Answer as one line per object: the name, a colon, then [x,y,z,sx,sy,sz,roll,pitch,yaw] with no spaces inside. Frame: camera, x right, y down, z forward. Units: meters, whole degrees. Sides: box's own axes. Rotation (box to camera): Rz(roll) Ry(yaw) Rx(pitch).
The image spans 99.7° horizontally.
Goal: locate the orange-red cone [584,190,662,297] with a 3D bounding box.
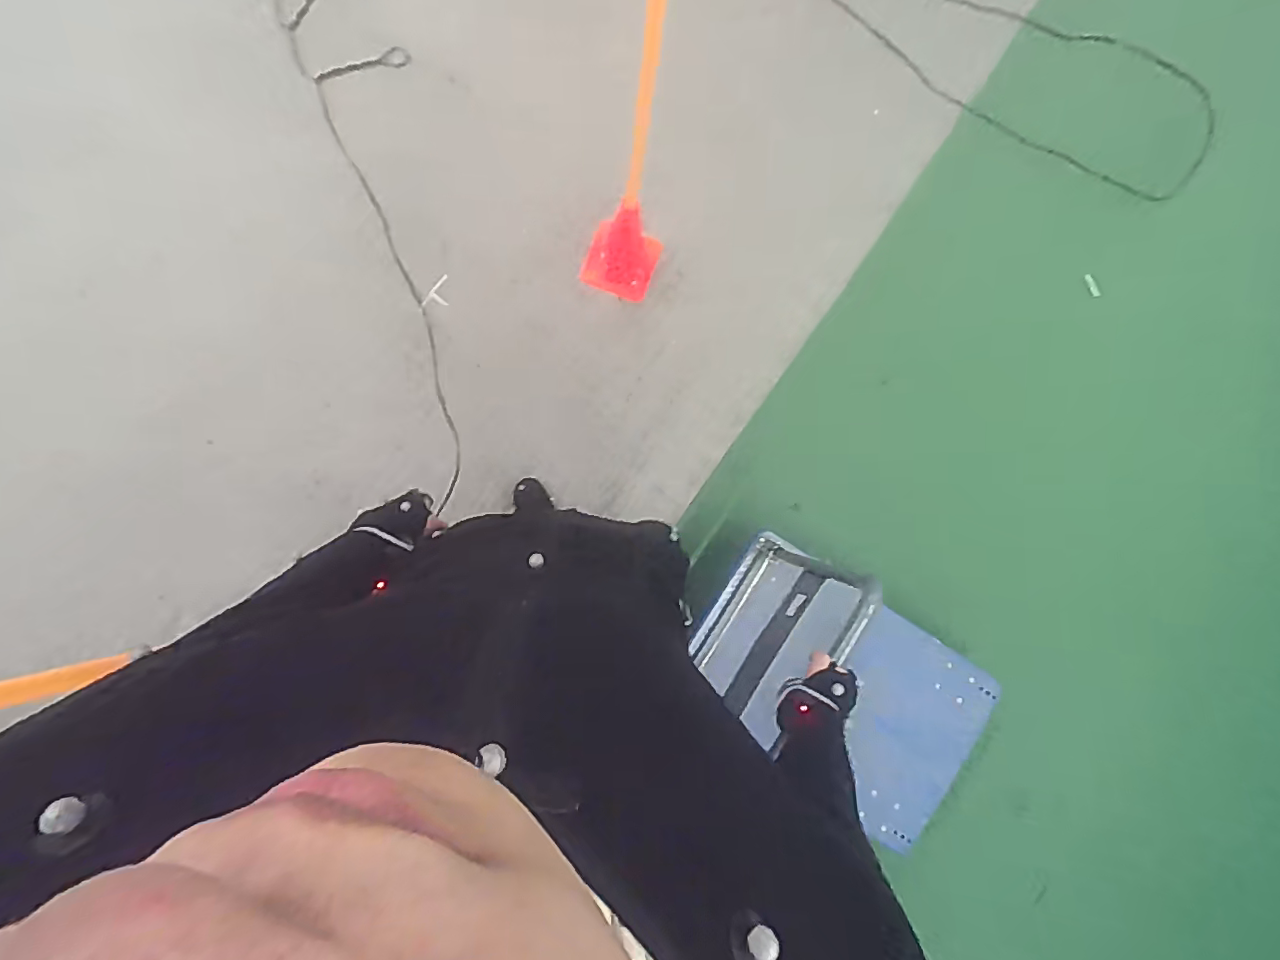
orange-red cone: [-0.031,-0.671,1.457,0.198,0.360,0.199,21,87,-6]
